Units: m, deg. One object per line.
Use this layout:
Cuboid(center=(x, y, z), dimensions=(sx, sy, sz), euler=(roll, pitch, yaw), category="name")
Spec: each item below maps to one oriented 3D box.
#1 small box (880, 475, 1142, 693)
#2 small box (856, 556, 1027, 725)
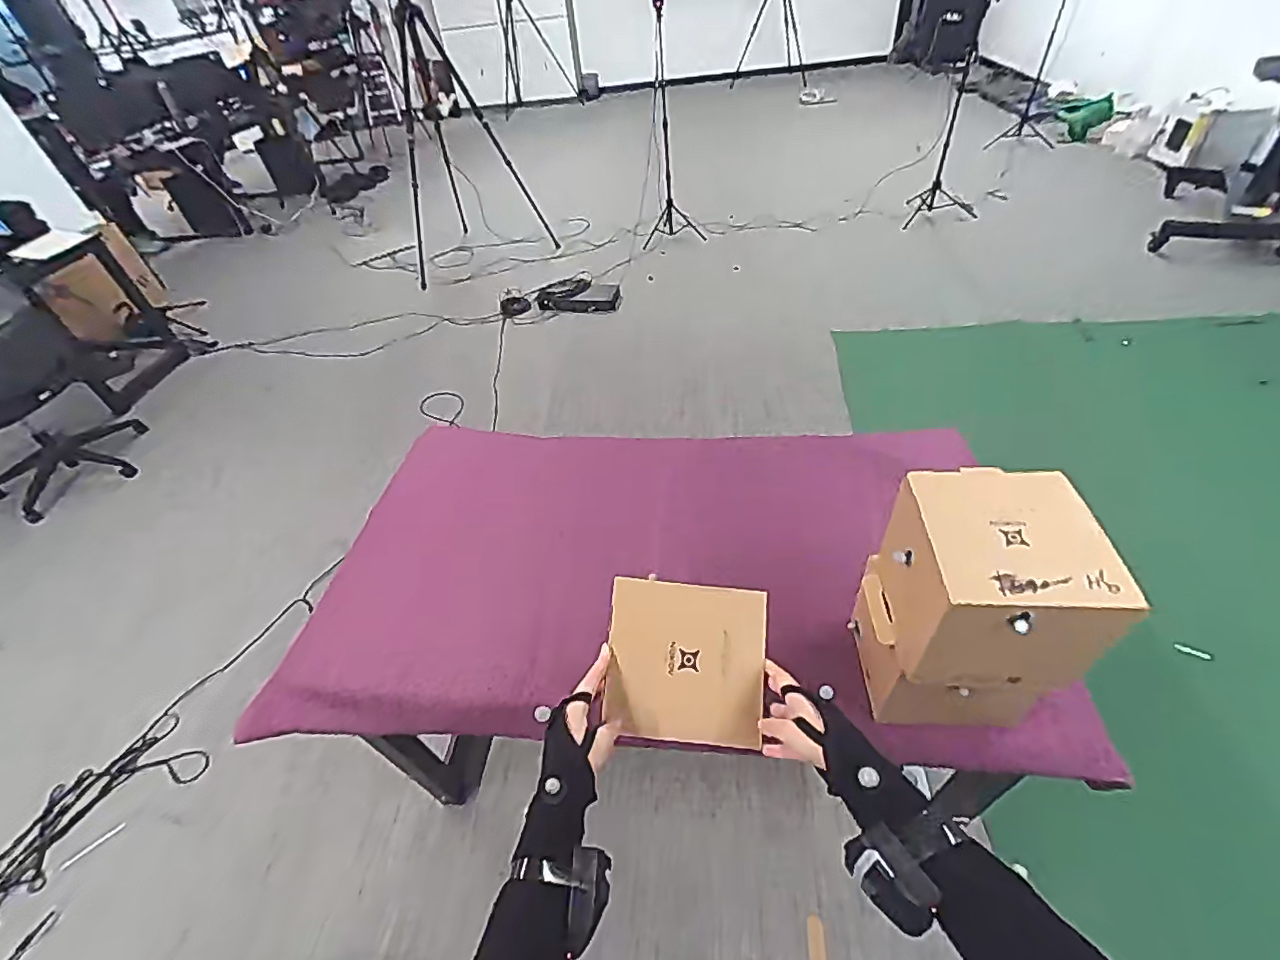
Cuboid(center=(0.381, 0.112, 0.602), dimensions=(0.168, 0.176, 0.179), euler=(-1, 44, 9), category="small box")
Cuboid(center=(0.402, 0.216, 0.729), dimensions=(0.179, 0.176, 0.168), euler=(-2, 45, 7), category="small box")
